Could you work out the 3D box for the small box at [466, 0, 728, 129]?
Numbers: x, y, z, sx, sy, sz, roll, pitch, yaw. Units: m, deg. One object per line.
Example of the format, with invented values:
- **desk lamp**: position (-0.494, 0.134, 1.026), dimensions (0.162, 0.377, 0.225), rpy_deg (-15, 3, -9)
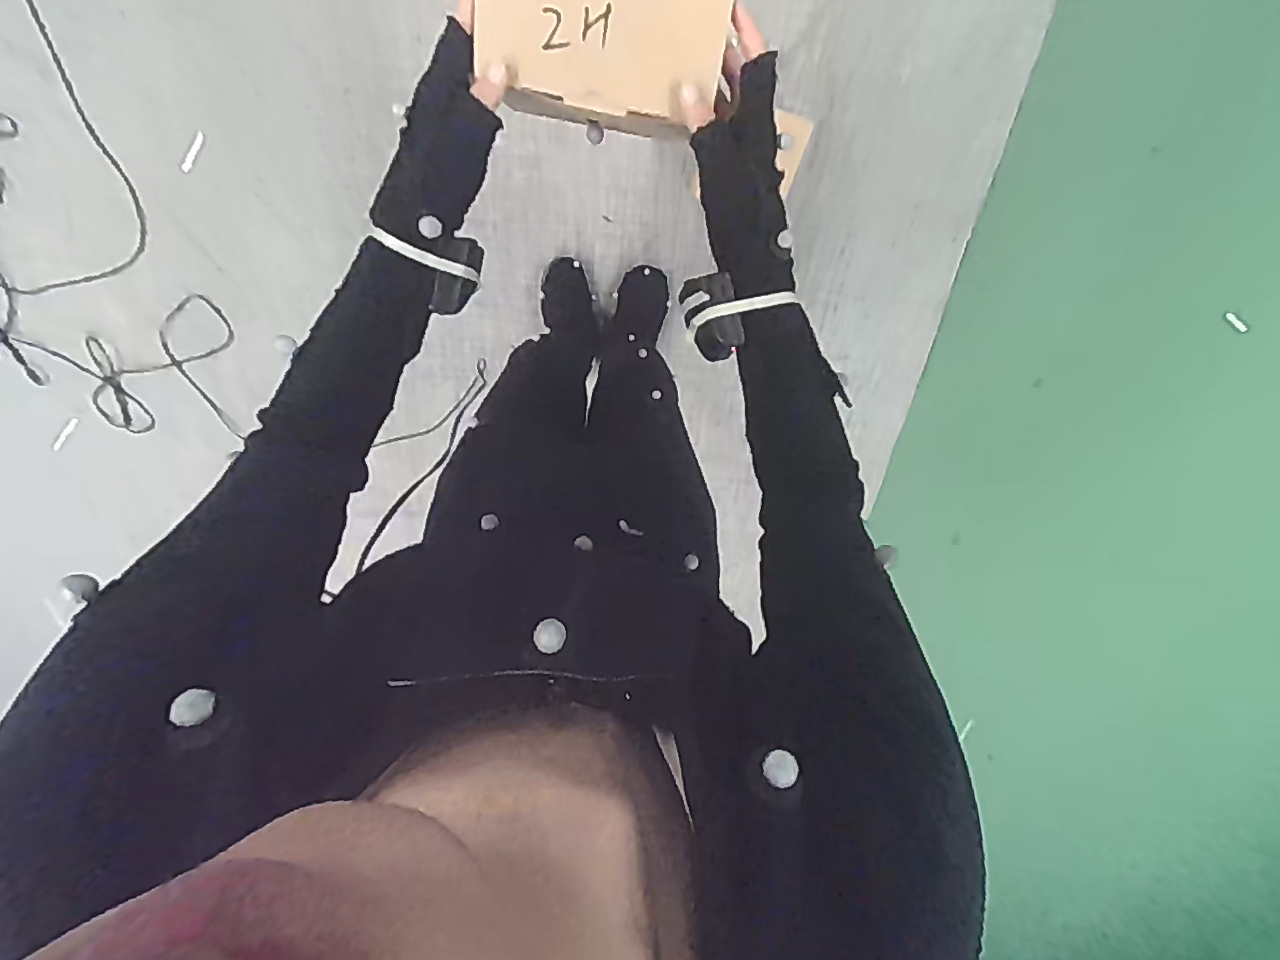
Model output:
- **small box**: position (-0.024, -0.378, 0.394), dimensions (0.168, 0.176, 0.179), rpy_deg (7, 119, -7)
